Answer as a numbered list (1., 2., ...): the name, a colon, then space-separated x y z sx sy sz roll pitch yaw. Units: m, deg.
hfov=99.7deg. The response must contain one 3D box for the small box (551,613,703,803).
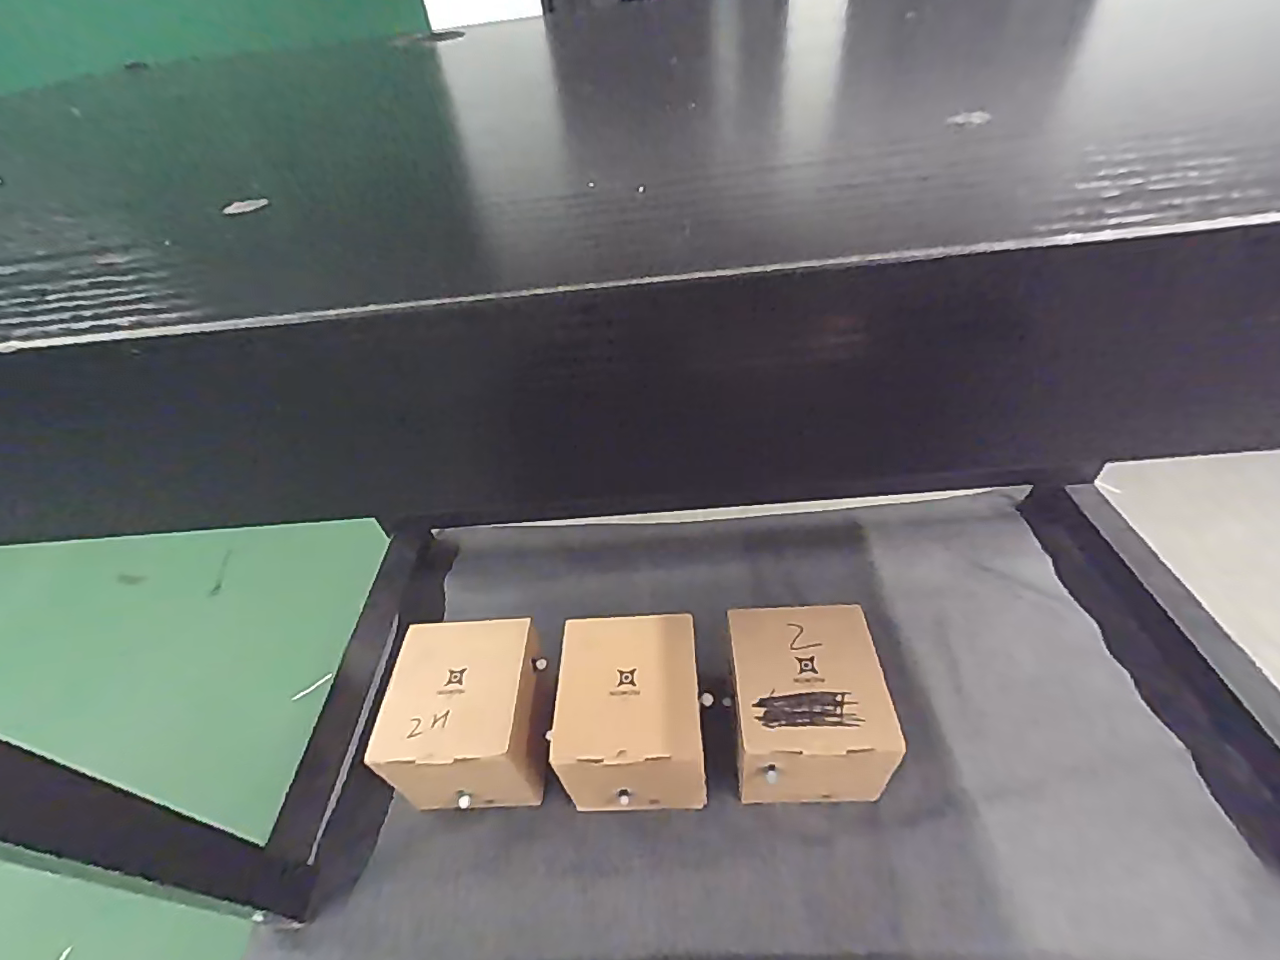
1. small box: -0.008 0.291 0.693 0.168 0.176 0.179 -3 45 4

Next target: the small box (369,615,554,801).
1. small box: -0.215 0.299 0.710 0.168 0.176 0.179 -4 44 4
